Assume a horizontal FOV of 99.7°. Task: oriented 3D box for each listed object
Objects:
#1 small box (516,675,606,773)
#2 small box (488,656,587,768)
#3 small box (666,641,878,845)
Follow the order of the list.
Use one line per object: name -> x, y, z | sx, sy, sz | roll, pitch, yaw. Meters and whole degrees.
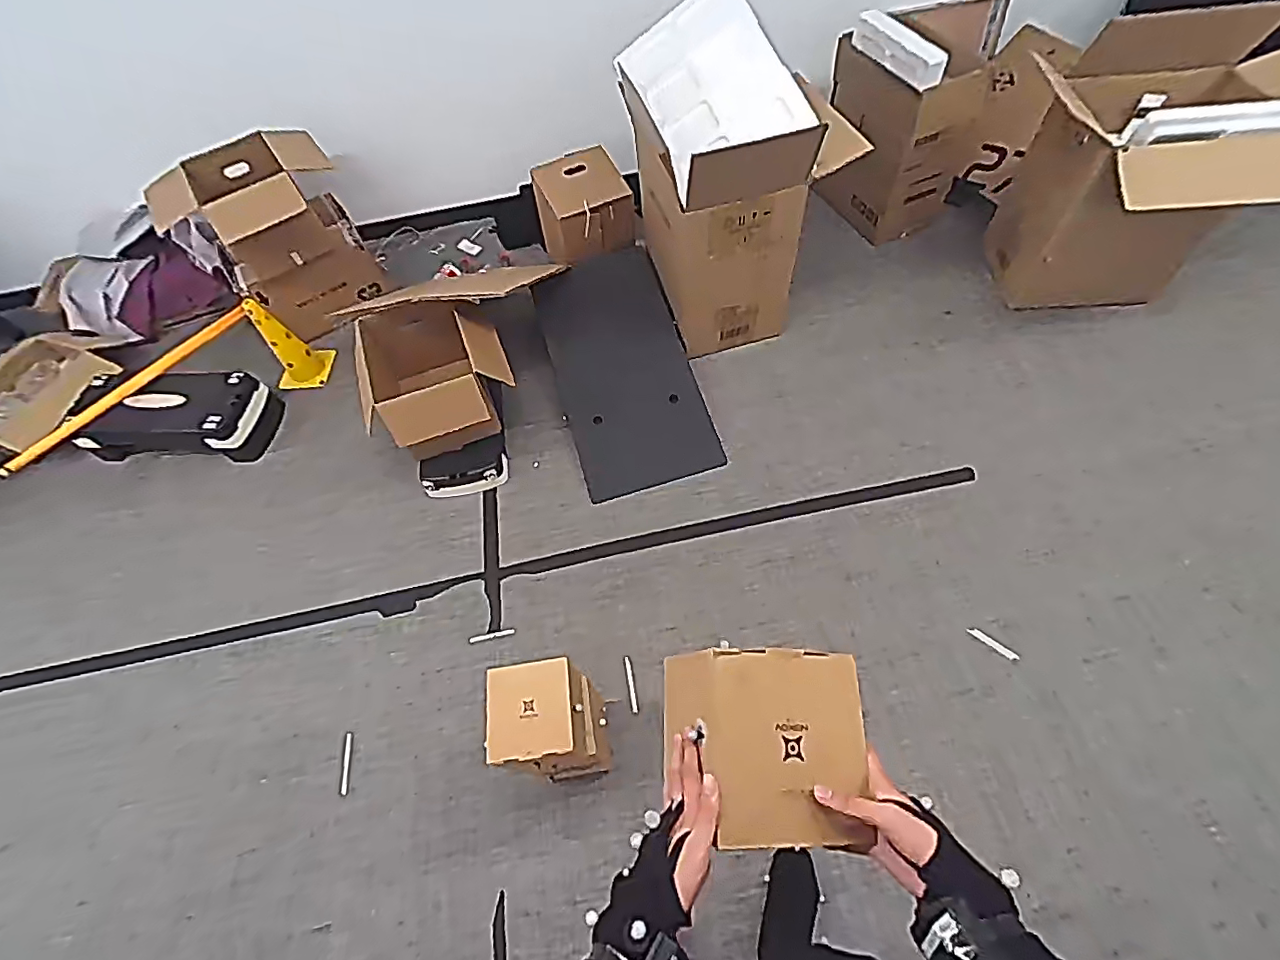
small box -> -0.183, 0.565, 1.245 | 0.179, 0.176, 0.168 | -11, 59, -2
small box -> -0.207, 0.479, 1.109 | 0.168, 0.176, 0.179 | -9, 60, -1
small box -> 0.130, 0.280, 0.597 | 0.168, 0.176, 0.179 | 7, 68, -13
